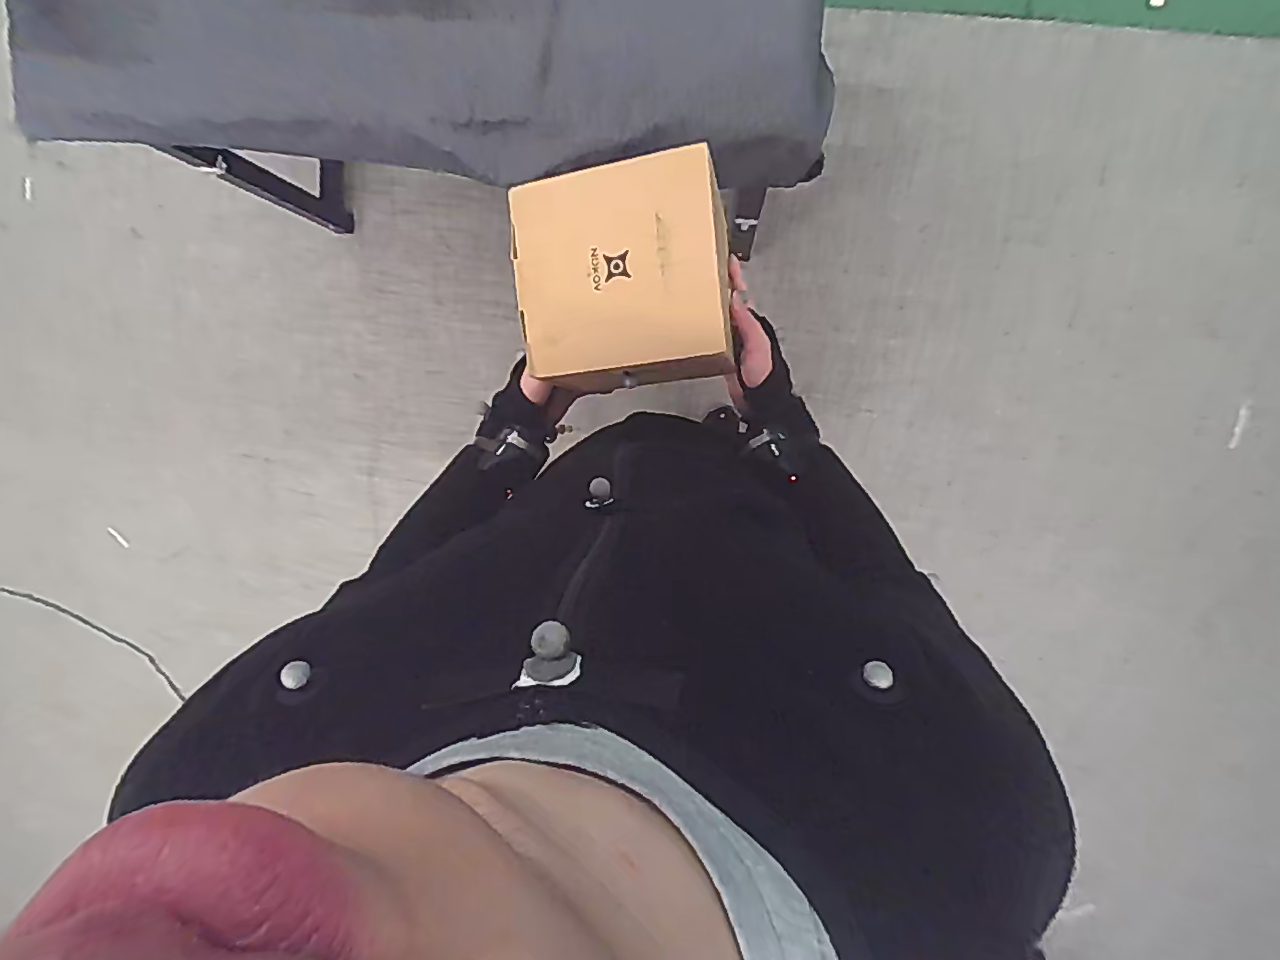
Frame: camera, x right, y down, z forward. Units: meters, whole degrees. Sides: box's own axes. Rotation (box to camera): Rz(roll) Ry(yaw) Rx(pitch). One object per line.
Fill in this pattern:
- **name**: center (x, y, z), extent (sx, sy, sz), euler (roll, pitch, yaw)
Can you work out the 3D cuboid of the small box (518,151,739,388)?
- **small box**: center (0.002, -0.187, 0.539), extent (0.179, 0.176, 0.168), euler (-5, 95, 13)
